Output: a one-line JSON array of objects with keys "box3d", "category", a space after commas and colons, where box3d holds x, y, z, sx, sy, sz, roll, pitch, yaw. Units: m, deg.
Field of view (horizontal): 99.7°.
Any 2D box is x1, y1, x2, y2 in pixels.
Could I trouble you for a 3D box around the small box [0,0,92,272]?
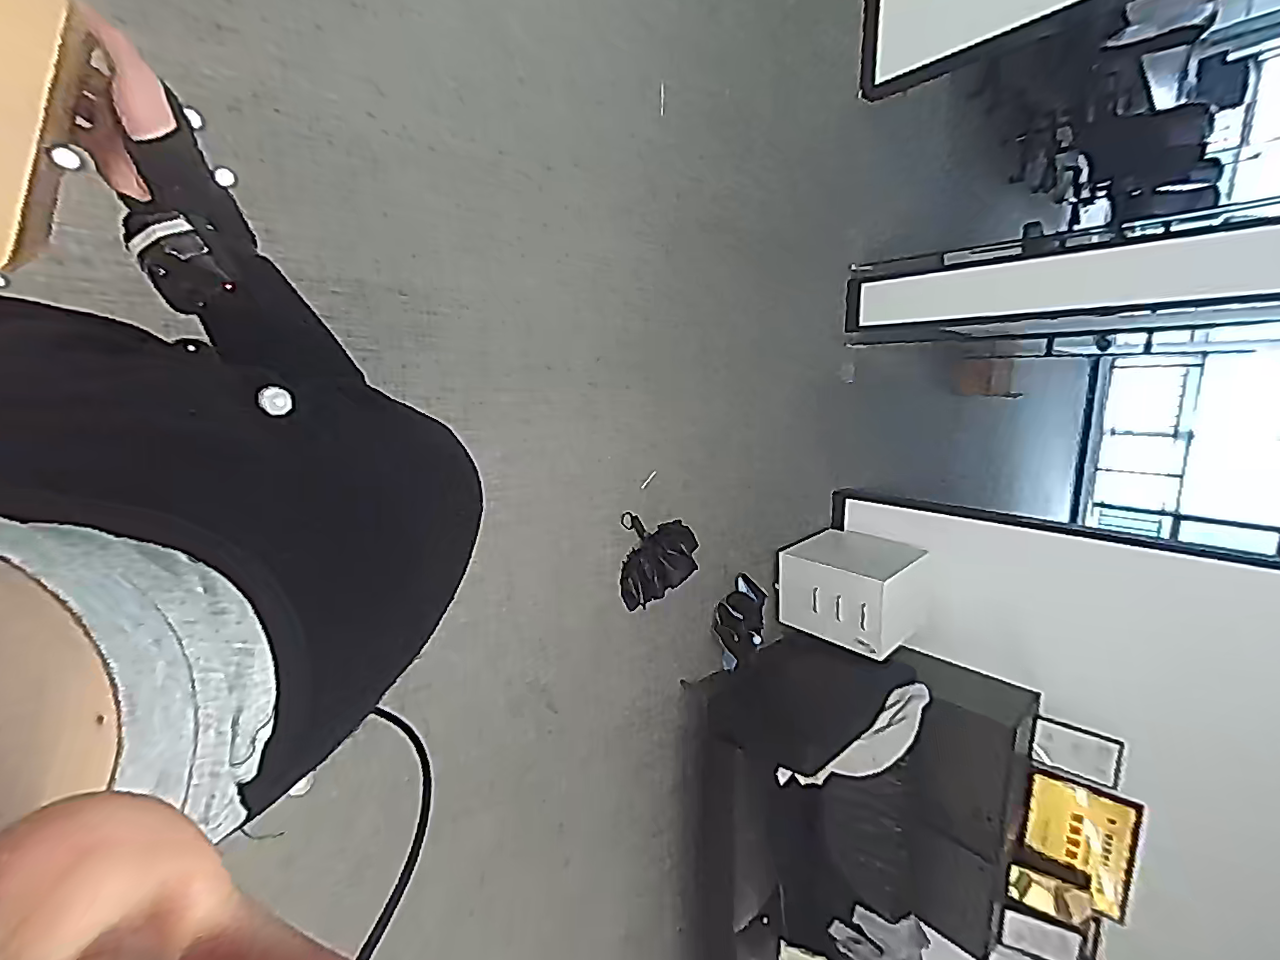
[{"box3d": [-0.471, -0.256, 0.333, 0.168, 0.176, 0.179, 13, 103, -47], "category": "small box"}]
